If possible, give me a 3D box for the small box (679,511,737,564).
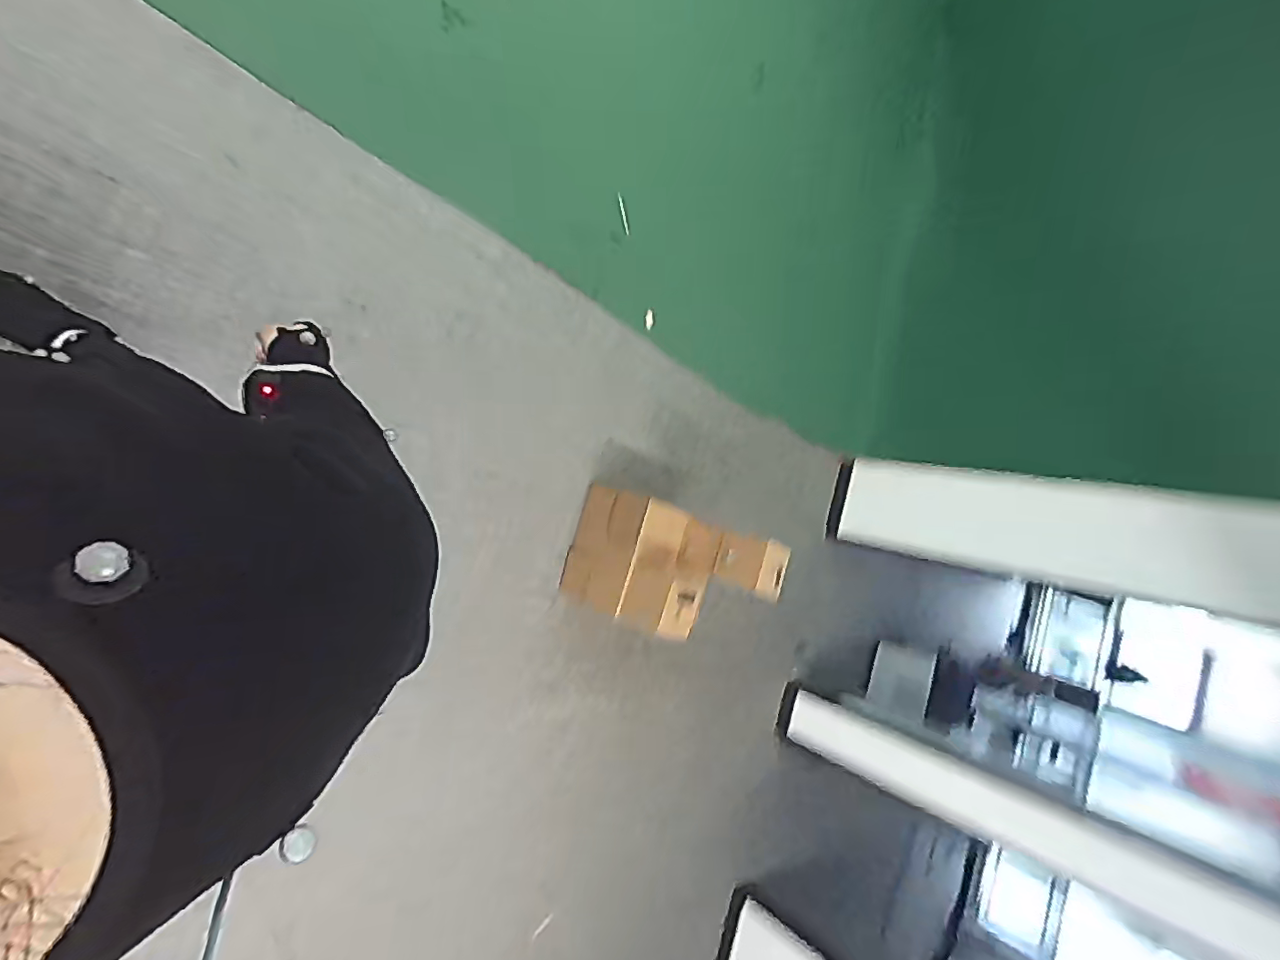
[{"bbox_3d":[0.268,0.214,1.928,0.179,0.176,0.168,21,82,-48],"label":"small box"}]

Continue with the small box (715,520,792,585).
[{"bbox_3d":[0.378,0.241,1.806,0.179,0.176,0.168,24,79,-47],"label":"small box"}]
